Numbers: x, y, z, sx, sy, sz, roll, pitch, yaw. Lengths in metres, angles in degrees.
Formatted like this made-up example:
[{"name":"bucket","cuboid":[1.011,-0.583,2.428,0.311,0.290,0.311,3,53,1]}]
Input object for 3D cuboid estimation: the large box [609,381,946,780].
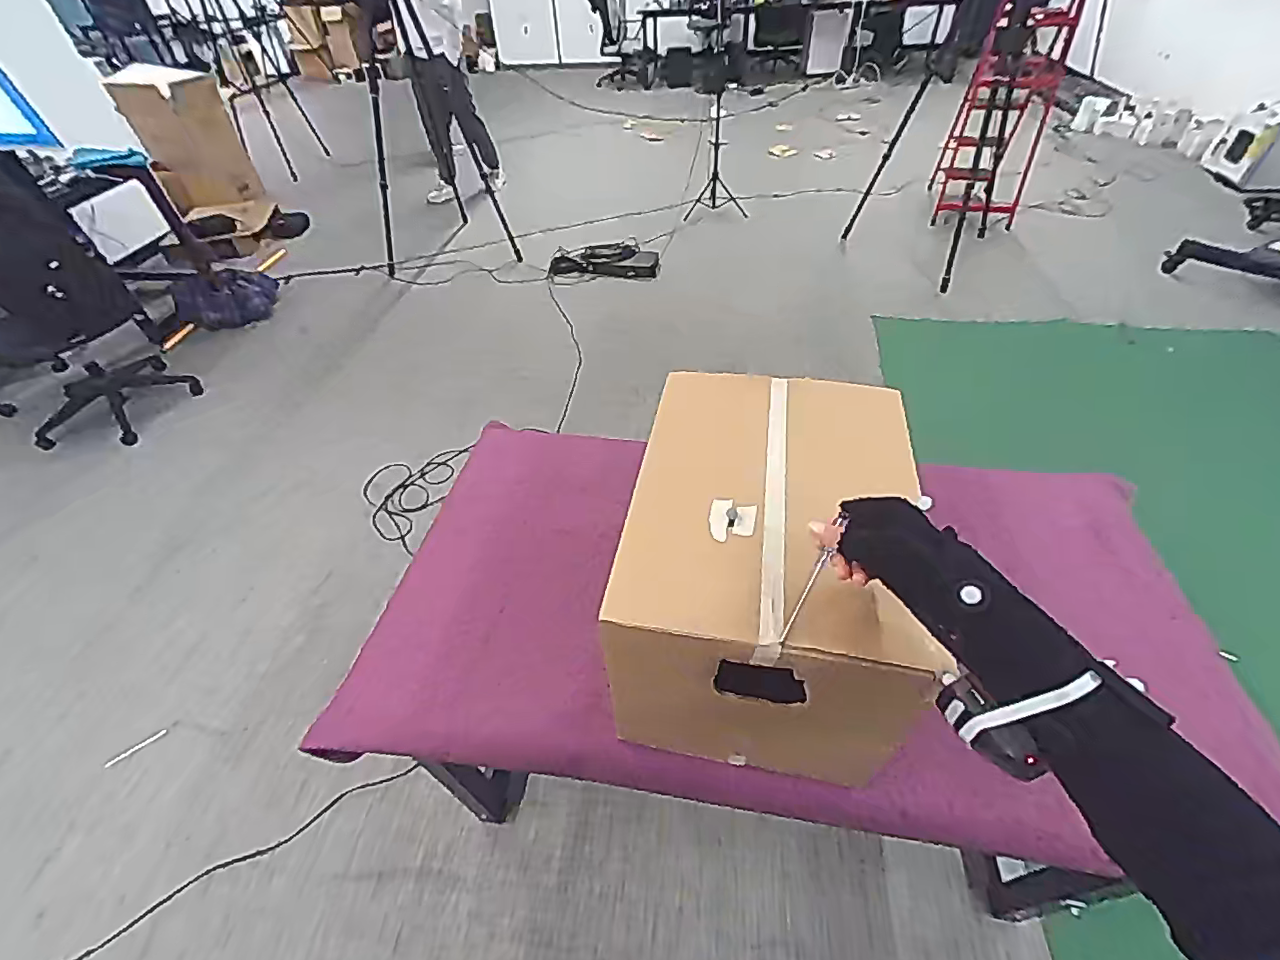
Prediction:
[{"name":"large box","cuboid":[0.158,0.120,0.732,0.320,0.320,0.408,7,47,10]}]
